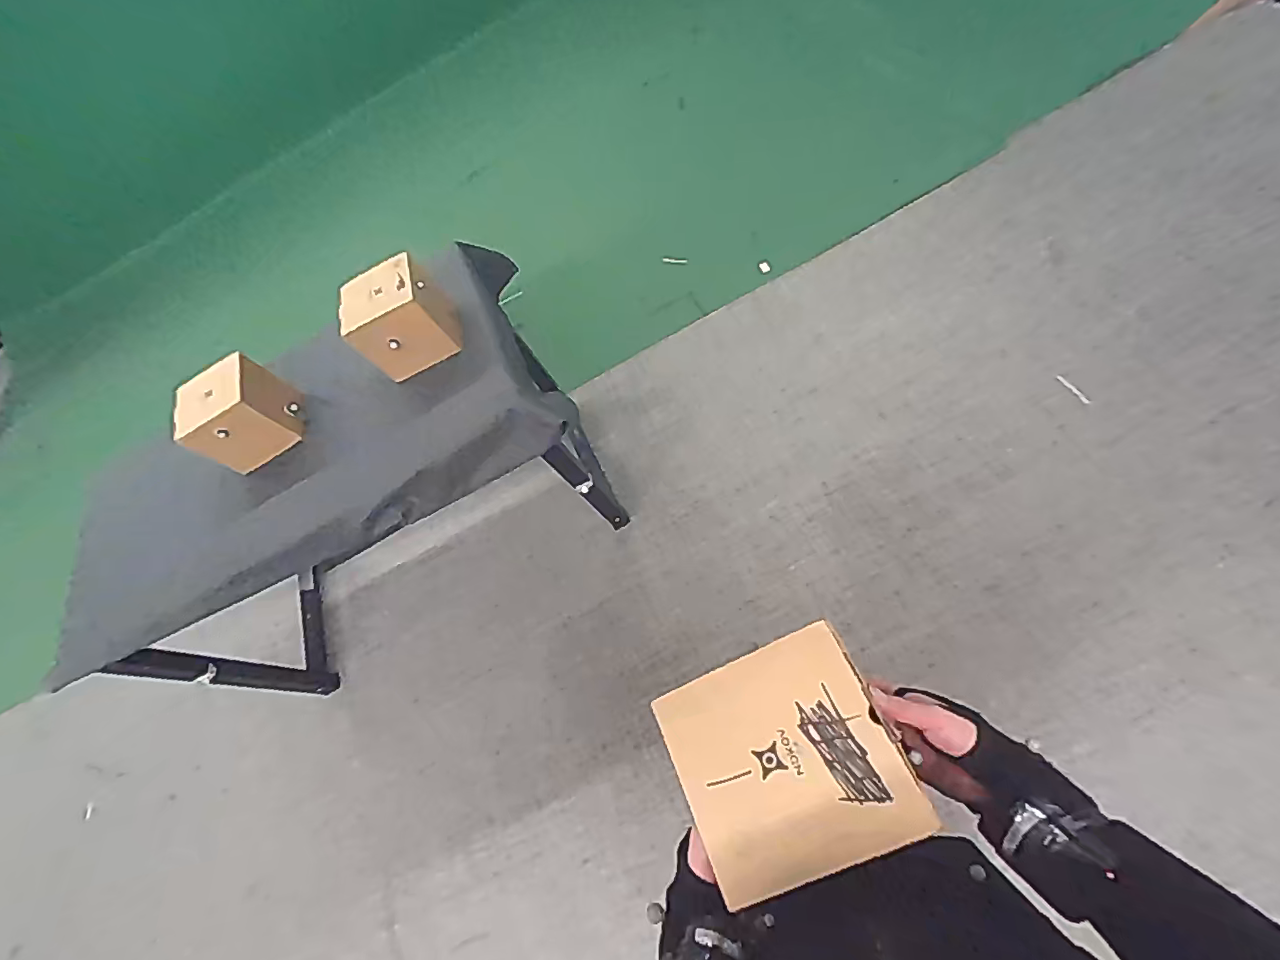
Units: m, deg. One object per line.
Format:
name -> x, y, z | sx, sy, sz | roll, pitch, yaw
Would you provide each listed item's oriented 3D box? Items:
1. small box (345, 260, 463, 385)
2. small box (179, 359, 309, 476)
small box -> -0.524, -0.342, 1.204 | 0.179, 0.176, 0.168 | -25, 59, 8
small box -> -0.906, -0.136, 1.246 | 0.179, 0.176, 0.168 | -29, 60, 3
